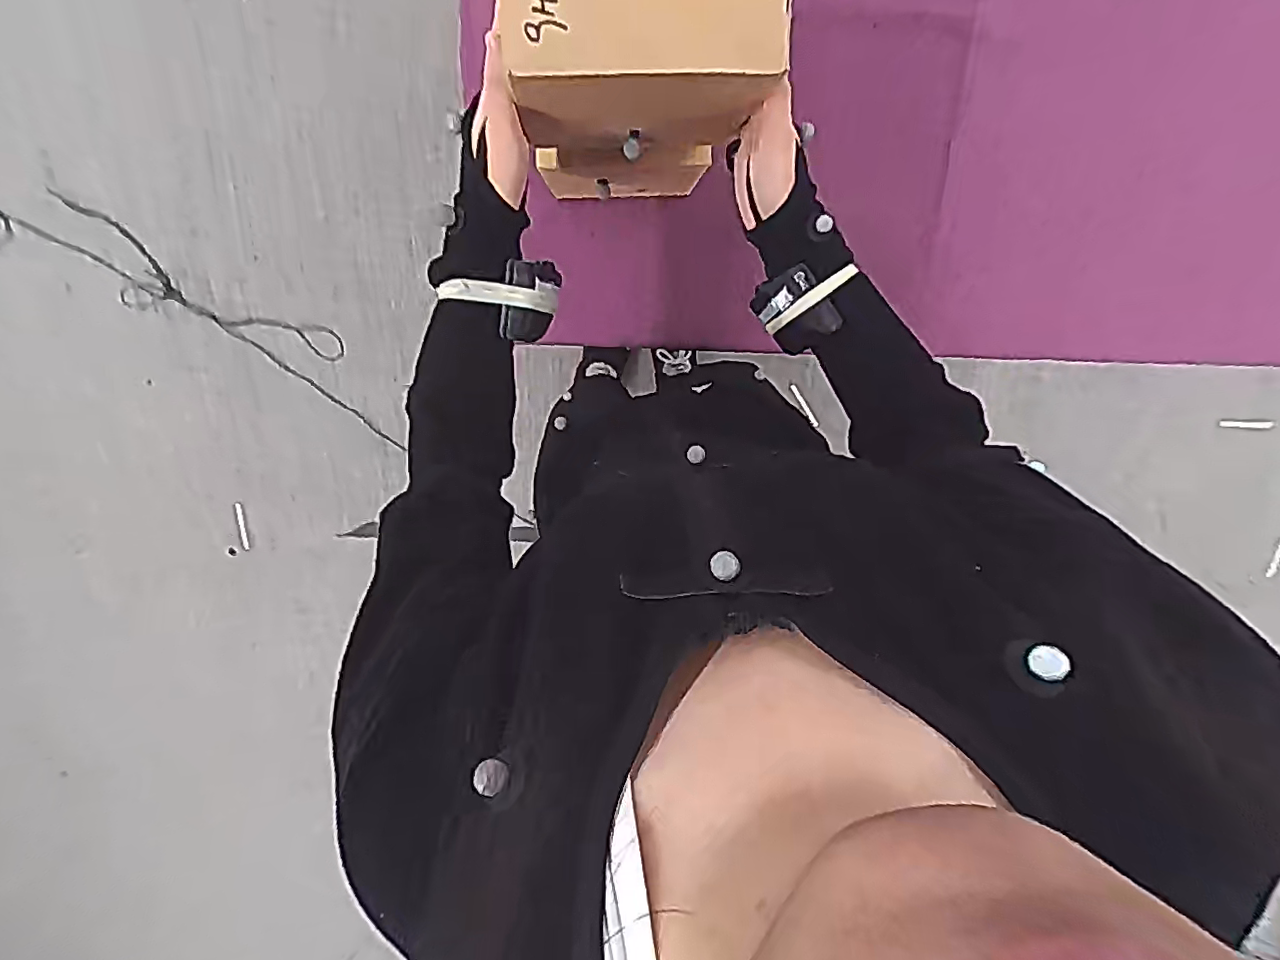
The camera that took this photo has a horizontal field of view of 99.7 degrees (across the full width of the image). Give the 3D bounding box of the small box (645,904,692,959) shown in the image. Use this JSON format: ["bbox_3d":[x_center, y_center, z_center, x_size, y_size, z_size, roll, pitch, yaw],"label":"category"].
[{"bbox_3d":[0.107,1.756,2.058,0.168,0.176,0.179,-3,110,0],"label":"small box"}]

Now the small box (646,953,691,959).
[{"bbox_3d":[0.106,1.808,1.901,0.168,0.176,0.179,-2,109,-1],"label":"small box"}]

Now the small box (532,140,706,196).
[{"bbox_3d":[-0.021,-0.400,0.556,0.168,0.176,0.179,-2,108,-1],"label":"small box"}]

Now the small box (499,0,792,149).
[{"bbox_3d":[-0.006,-0.346,0.375,0.179,0.176,0.168,-4,108,-6],"label":"small box"}]
